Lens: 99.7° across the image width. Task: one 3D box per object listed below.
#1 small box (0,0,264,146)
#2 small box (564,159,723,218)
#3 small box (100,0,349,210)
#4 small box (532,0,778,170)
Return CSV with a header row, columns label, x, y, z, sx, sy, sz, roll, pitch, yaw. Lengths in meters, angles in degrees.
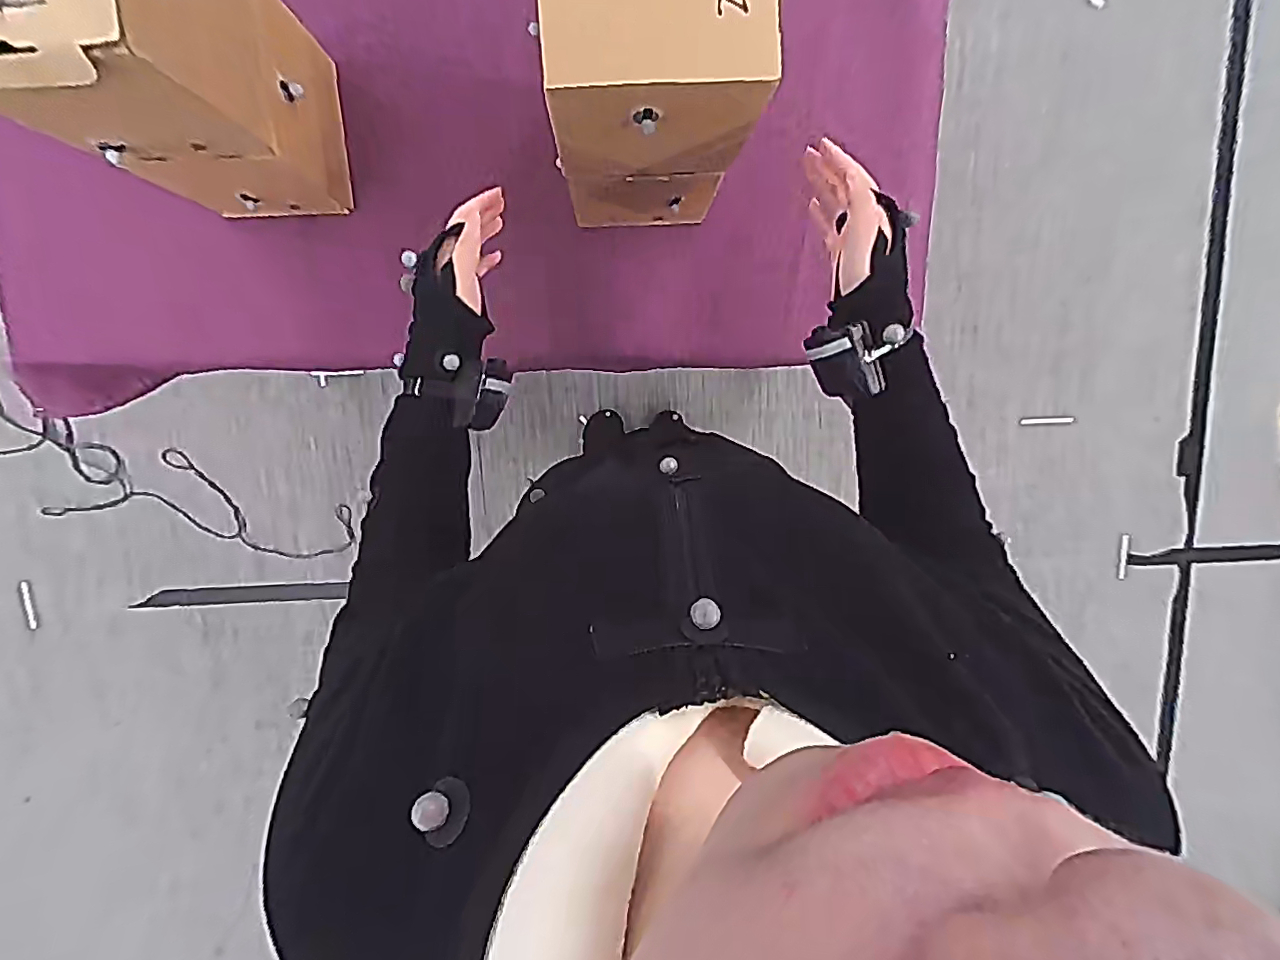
label,x,y,z,sx,sy,sz,roll,pitch,yaw
small box,-0.442,-0.391,0.433,0.168,0.176,0.179,-5,100,-3
small box,0.000,-0.411,0.616,0.168,0.176,0.179,-2,99,-3
small box,-0.449,-0.418,0.595,0.168,0.176,0.179,-3,100,-3
small box,0.007,-0.380,0.455,0.179,0.176,0.168,-3,100,-3
